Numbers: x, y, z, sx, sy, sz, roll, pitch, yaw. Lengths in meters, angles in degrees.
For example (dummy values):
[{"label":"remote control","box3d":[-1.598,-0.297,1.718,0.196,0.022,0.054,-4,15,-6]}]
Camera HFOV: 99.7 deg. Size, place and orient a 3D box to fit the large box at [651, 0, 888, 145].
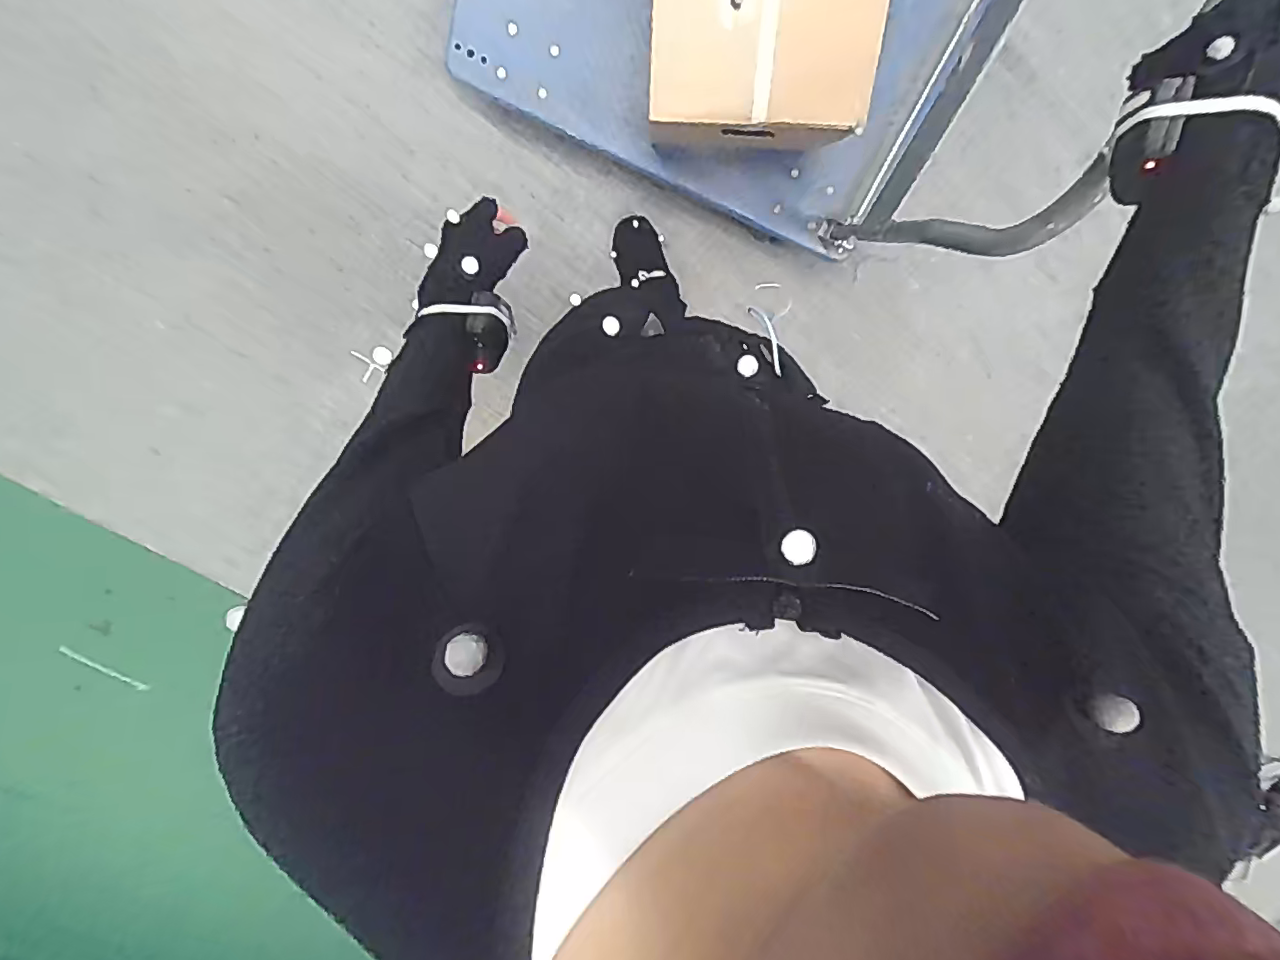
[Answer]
[{"label":"large box","box3d":[0.178,-0.759,0.818,0.320,0.320,0.408,2,118,0]}]
